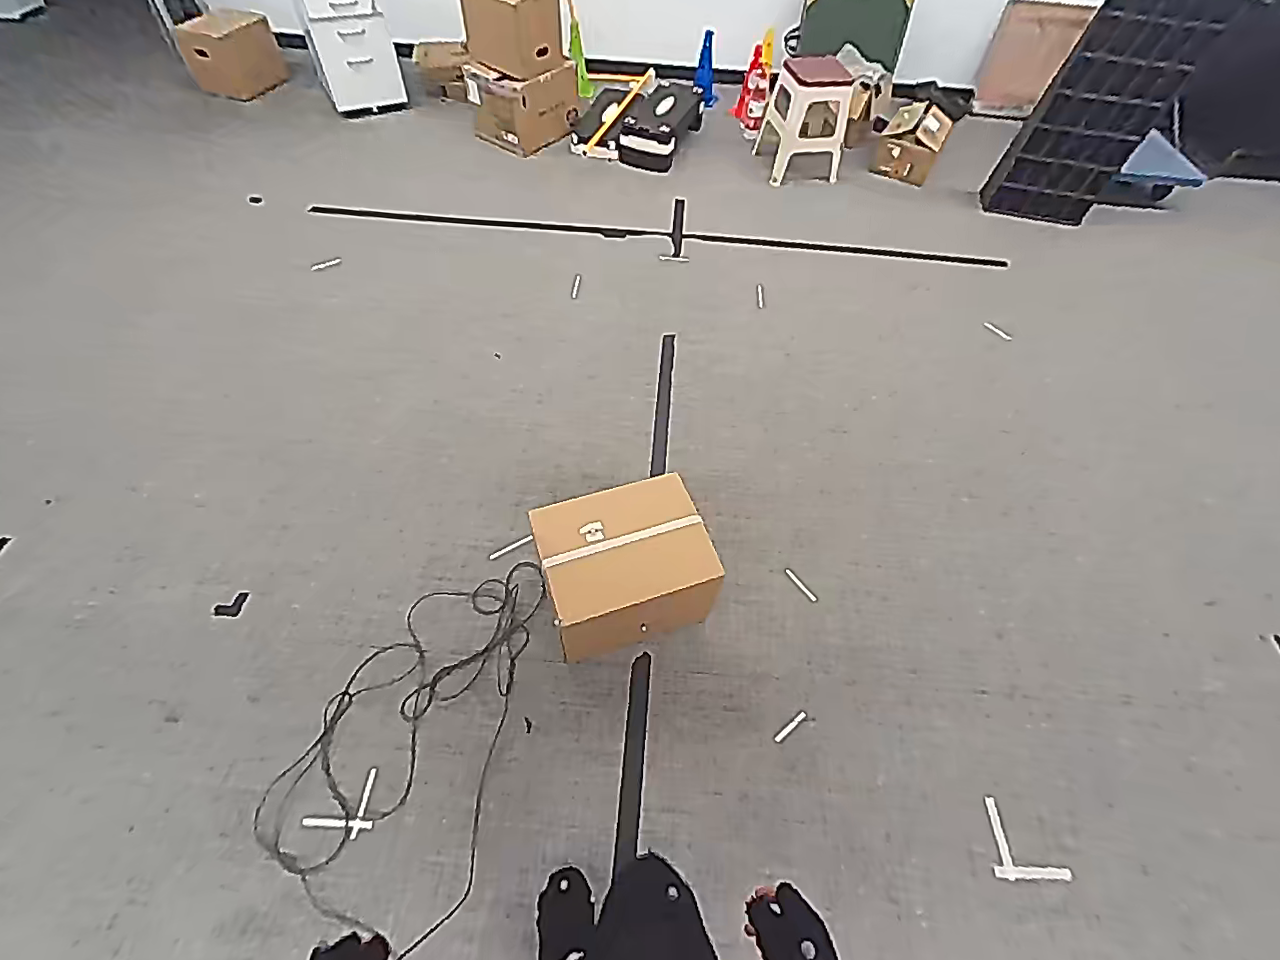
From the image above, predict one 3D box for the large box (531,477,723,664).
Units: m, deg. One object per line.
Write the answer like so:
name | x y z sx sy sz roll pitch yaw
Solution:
large box | -0.042 0.244 1.435 0.408 0.320 0.320 -15 58 -13
